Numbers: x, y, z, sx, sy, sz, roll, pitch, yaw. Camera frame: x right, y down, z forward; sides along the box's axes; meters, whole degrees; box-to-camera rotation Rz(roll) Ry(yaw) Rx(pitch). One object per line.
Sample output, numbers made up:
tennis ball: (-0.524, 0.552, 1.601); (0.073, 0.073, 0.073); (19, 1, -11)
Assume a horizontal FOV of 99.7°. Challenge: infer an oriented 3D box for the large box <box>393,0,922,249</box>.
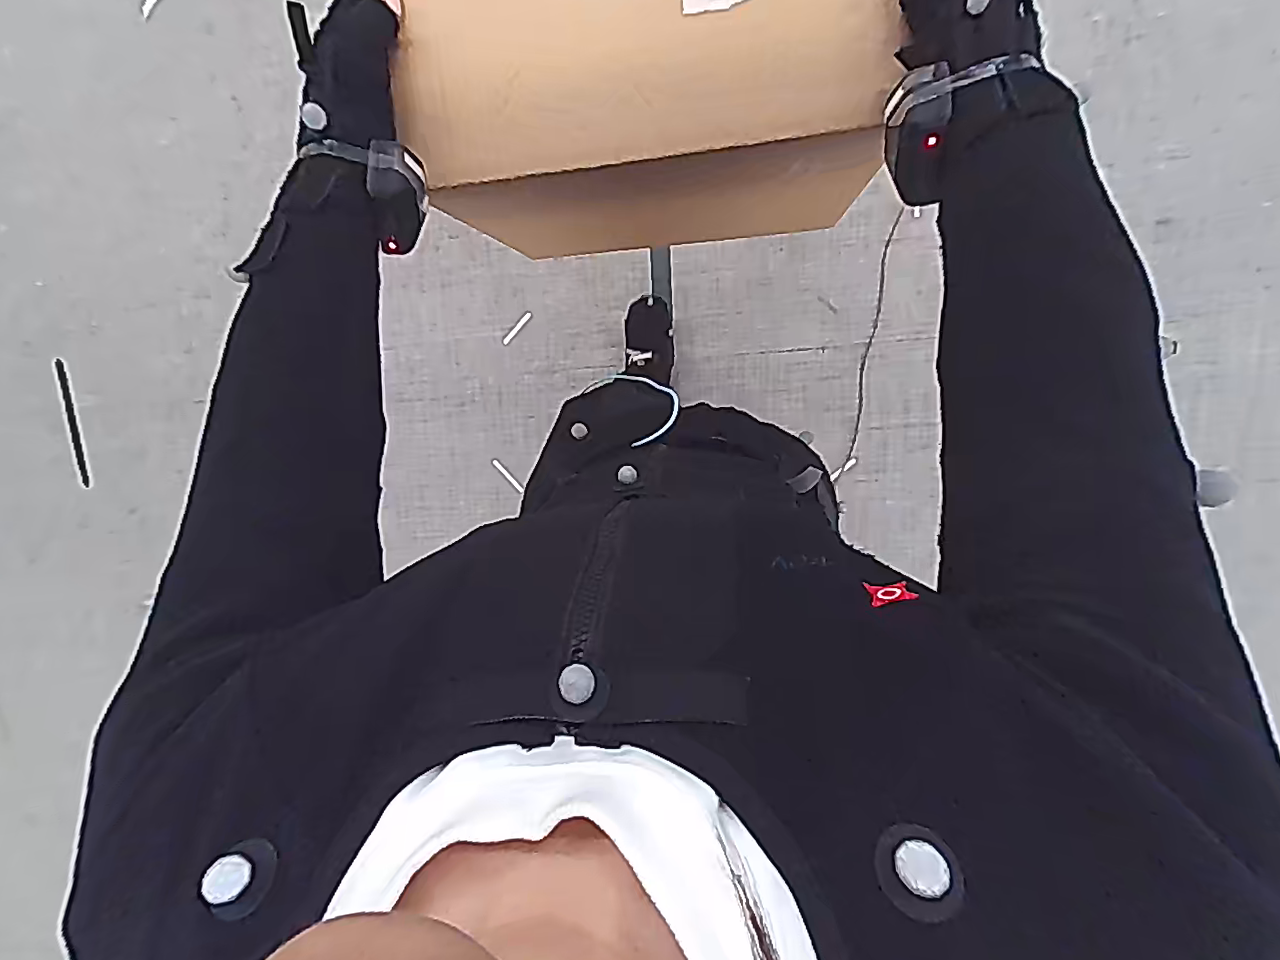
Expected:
large box: (0.016, -0.445, 0.541); (0.408, 0.320, 0.320); (-3, 102, 9)
